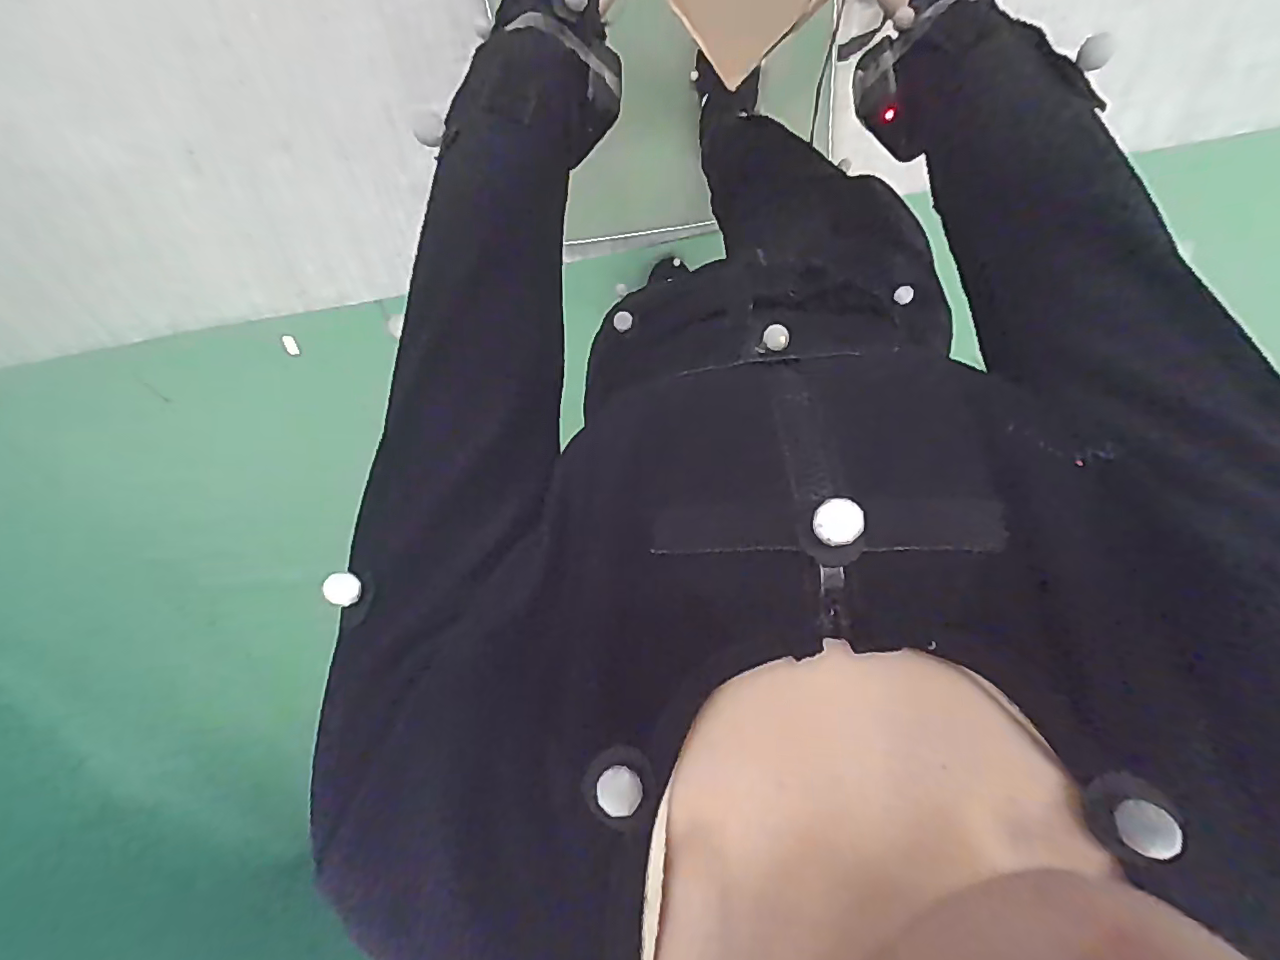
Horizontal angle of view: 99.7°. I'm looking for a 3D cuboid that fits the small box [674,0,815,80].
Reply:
[{"bbox_3d":[0.073,-0.469,0.411,0.168,0.176,0.179,-33,133,30],"label":"small box"}]
